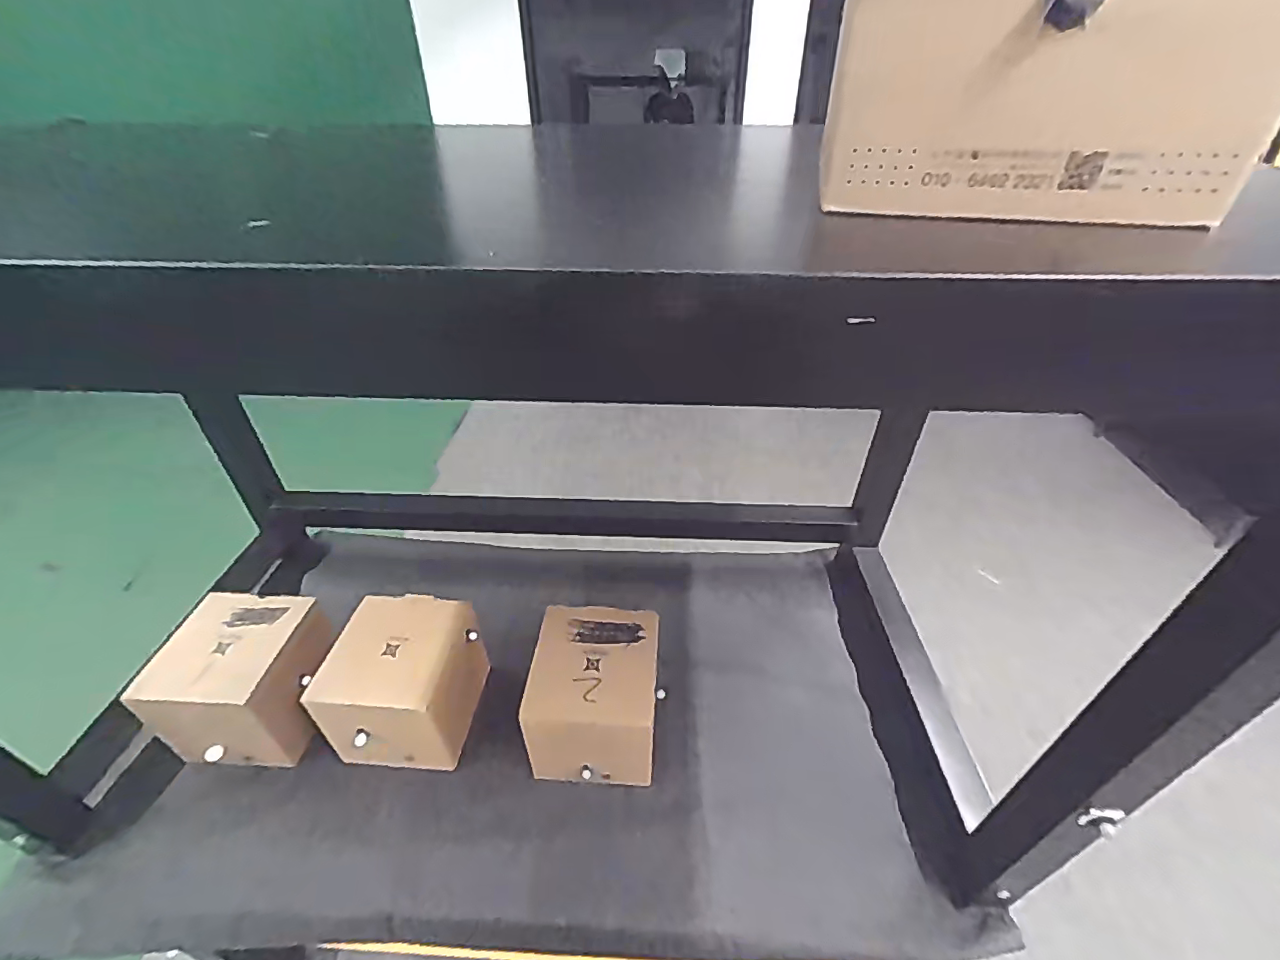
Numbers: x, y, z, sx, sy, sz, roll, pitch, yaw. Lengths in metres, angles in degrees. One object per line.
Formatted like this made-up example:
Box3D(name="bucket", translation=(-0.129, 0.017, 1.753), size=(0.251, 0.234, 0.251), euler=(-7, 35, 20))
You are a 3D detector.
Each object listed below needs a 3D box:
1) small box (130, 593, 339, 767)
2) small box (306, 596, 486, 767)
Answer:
Box3D(name="small box", translation=(-0.565, 0.291, 0.797), size=(0.168, 0.176, 0.179), euler=(2, 37, 2))
Box3D(name="small box", translation=(-0.338, 0.296, 0.796), size=(0.168, 0.176, 0.179), euler=(3, 36, 3))
